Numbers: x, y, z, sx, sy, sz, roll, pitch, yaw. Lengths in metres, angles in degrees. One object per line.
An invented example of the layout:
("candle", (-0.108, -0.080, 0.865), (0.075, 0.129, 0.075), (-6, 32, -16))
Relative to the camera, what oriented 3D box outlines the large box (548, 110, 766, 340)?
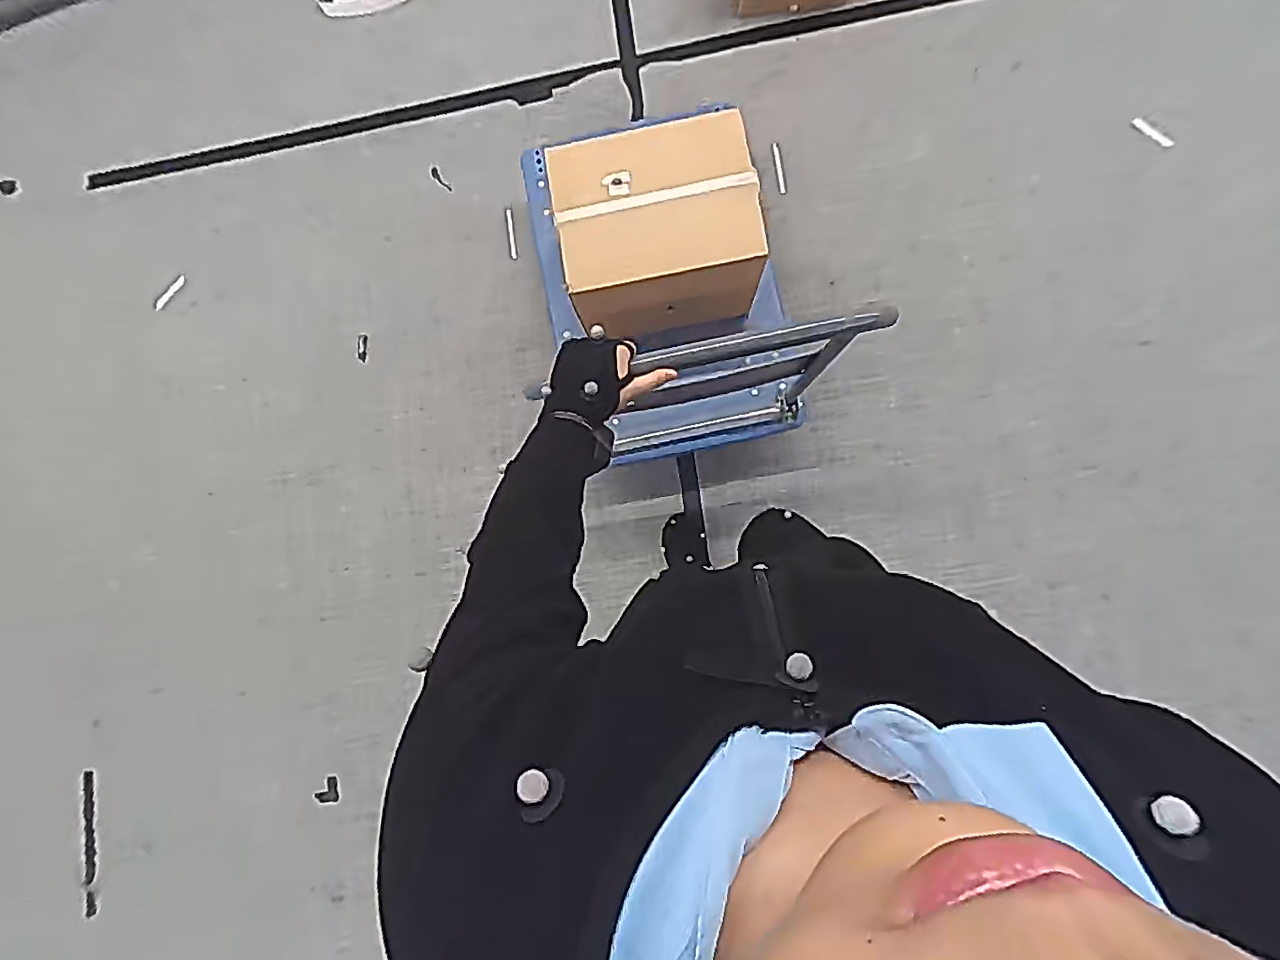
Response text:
("large box", (0.043, -0.551, 1.238), (0.408, 0.320, 0.320), (-11, 84, 4))
